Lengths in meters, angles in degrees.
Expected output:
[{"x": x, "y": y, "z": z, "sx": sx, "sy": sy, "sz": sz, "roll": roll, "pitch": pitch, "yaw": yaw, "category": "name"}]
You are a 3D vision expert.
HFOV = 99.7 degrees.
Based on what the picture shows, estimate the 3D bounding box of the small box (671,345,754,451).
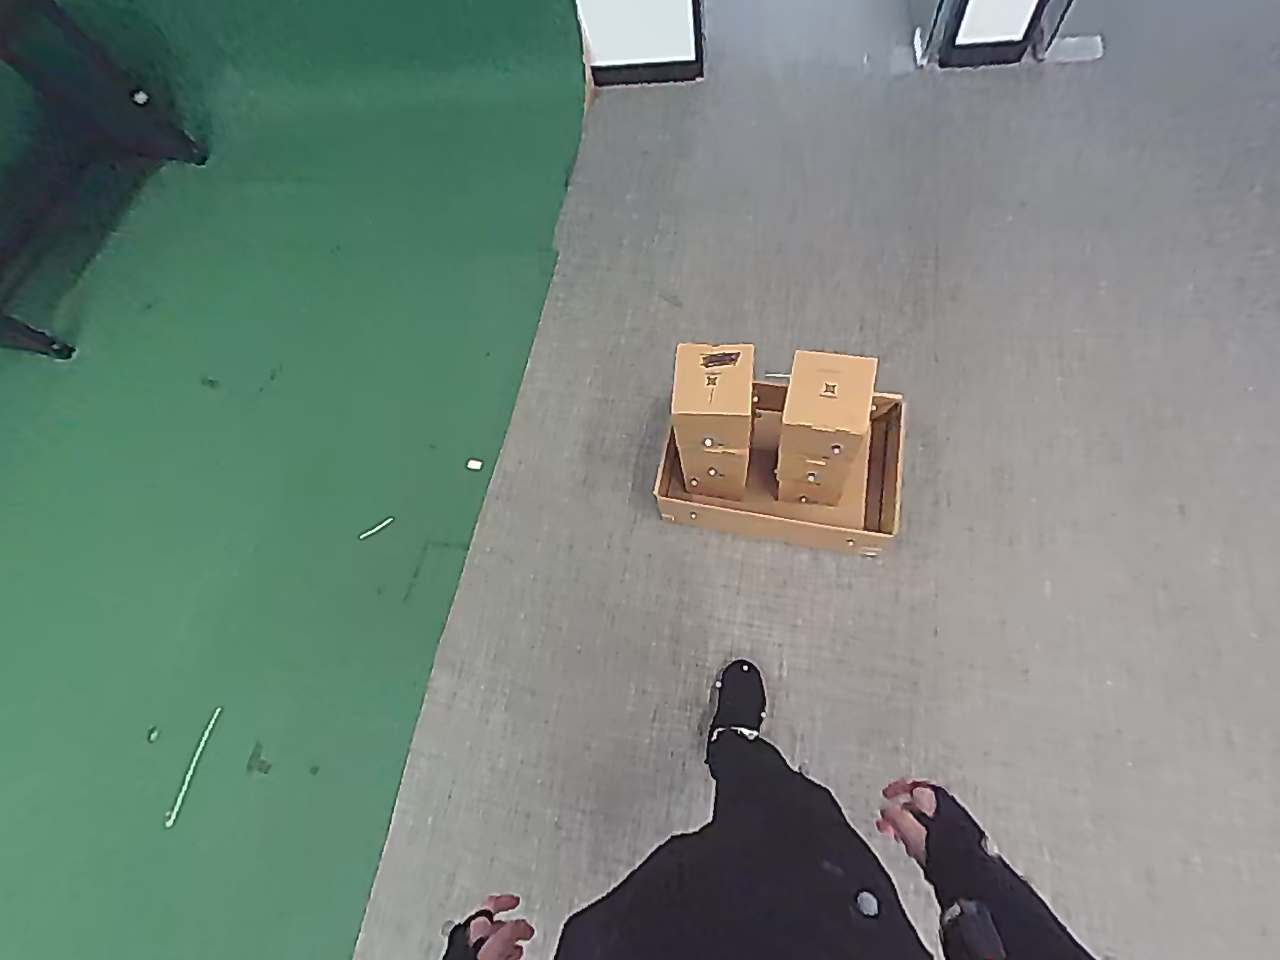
[{"x": 0.165, "y": -0.181, "z": 1.210, "sx": 0.168, "sy": 0.176, "sz": 0.179, "roll": 3, "pitch": 69, "yaw": 10, "category": "small box"}]

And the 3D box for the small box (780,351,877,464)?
[{"x": 0.398, "y": -0.149, "z": 1.163, "sx": 0.168, "sy": 0.176, "sz": 0.179, "roll": 11, "pitch": 72, "yaw": 15, "category": "small box"}]

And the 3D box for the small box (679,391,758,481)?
[{"x": 0.197, "y": -0.115, "z": 1.358, "sx": 0.168, "sy": 0.176, "sz": 0.179, "roll": 8, "pitch": 70, "yaw": 12, "category": "small box"}]
